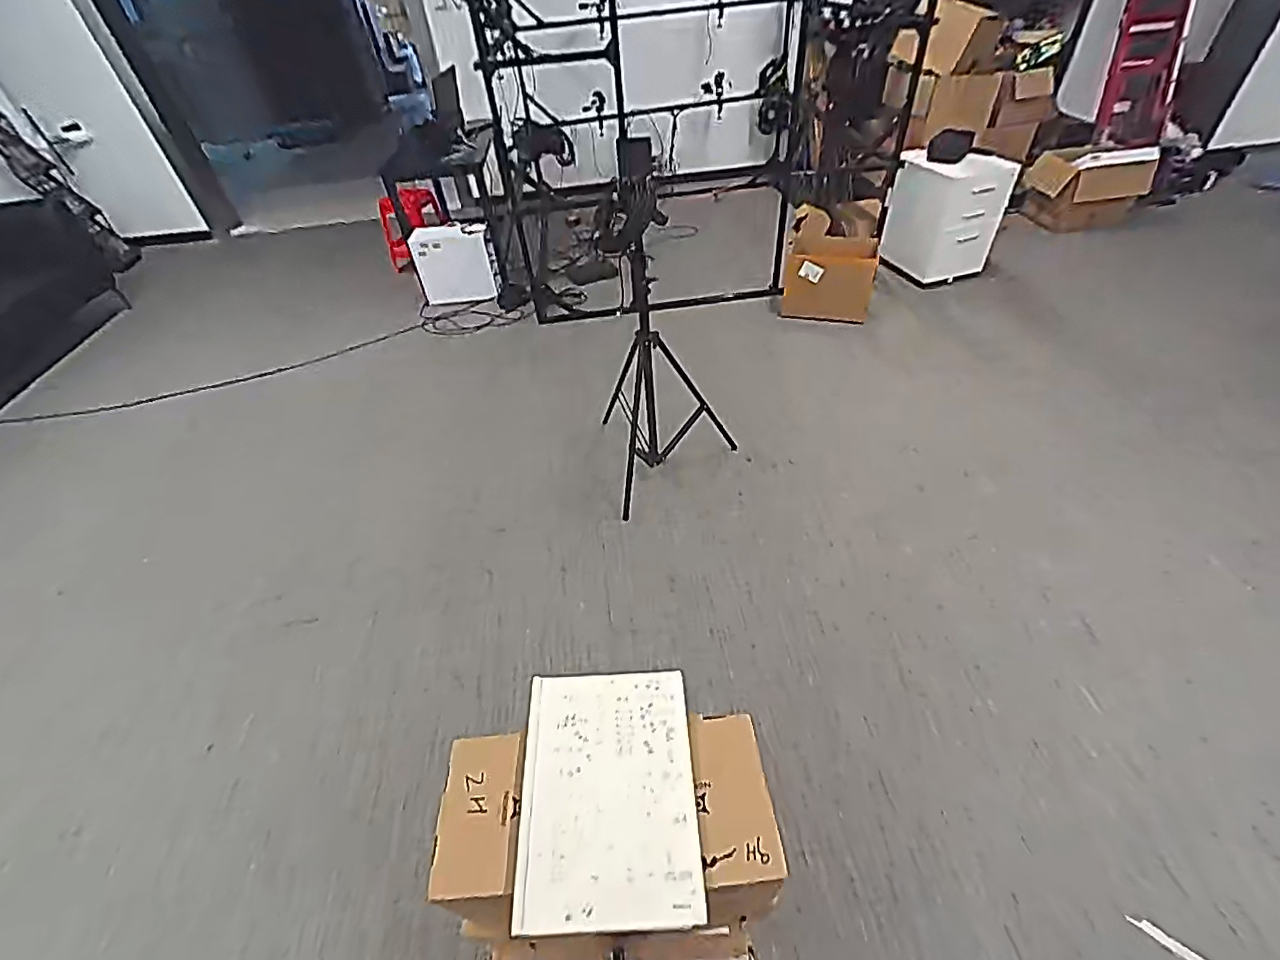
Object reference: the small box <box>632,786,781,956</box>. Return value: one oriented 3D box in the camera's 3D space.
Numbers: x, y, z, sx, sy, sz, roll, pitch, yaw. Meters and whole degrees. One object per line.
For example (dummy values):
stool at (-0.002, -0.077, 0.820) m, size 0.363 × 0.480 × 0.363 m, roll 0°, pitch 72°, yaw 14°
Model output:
small box at (0.087, 0.569, 0.787) m, size 0.179 × 0.176 × 0.168 m, roll -8°, pitch 45°, yaw -3°
